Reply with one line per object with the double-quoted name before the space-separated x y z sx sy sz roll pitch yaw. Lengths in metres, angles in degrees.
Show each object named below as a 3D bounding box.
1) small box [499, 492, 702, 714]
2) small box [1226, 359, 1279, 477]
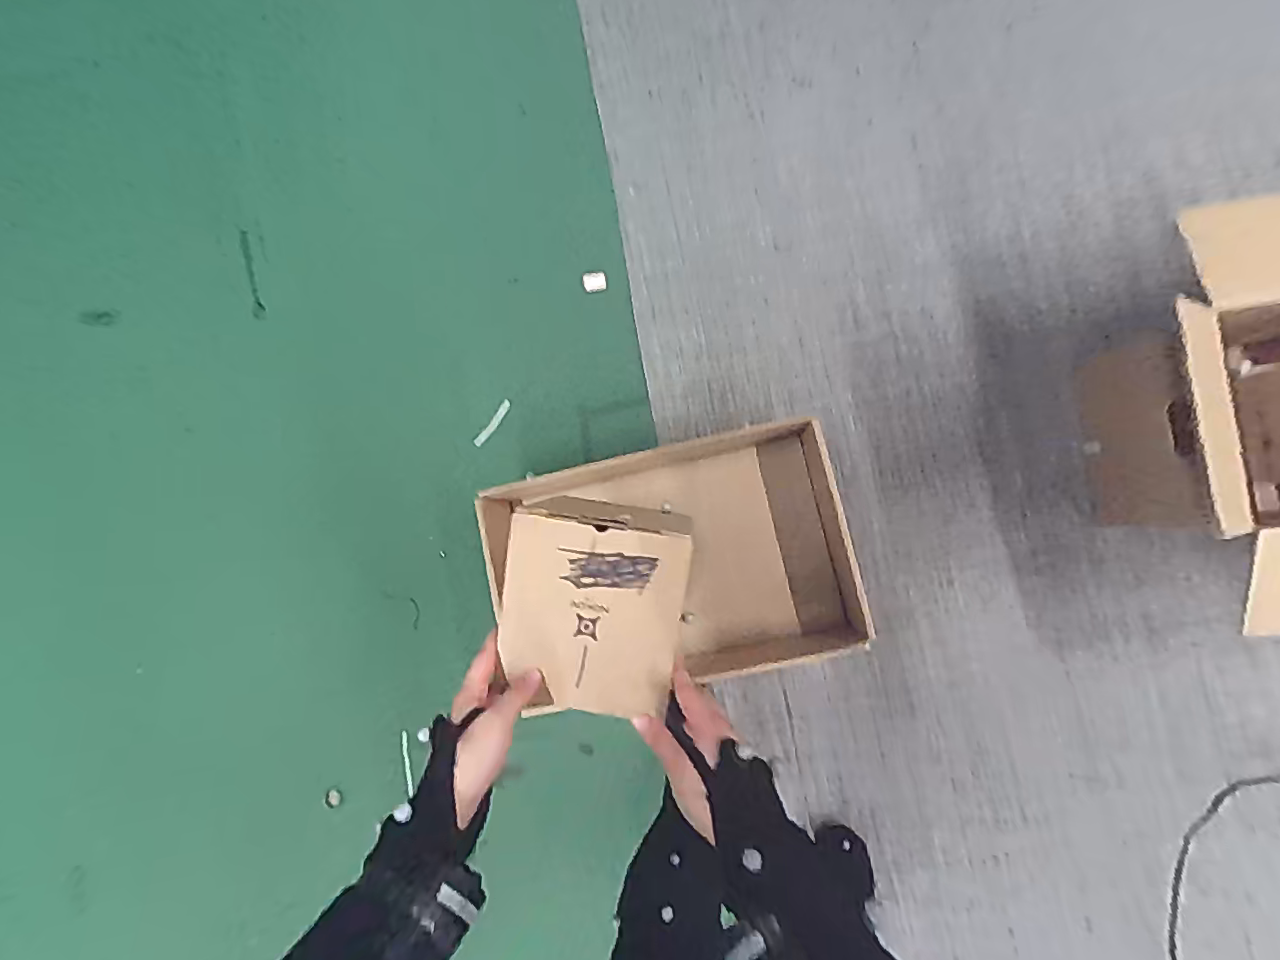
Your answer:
"small box" -0.033 0.111 0.568 0.168 0.176 0.179 8 93 4
"small box" 0.983 -0.100 0.749 0.179 0.176 0.168 -9 86 6
